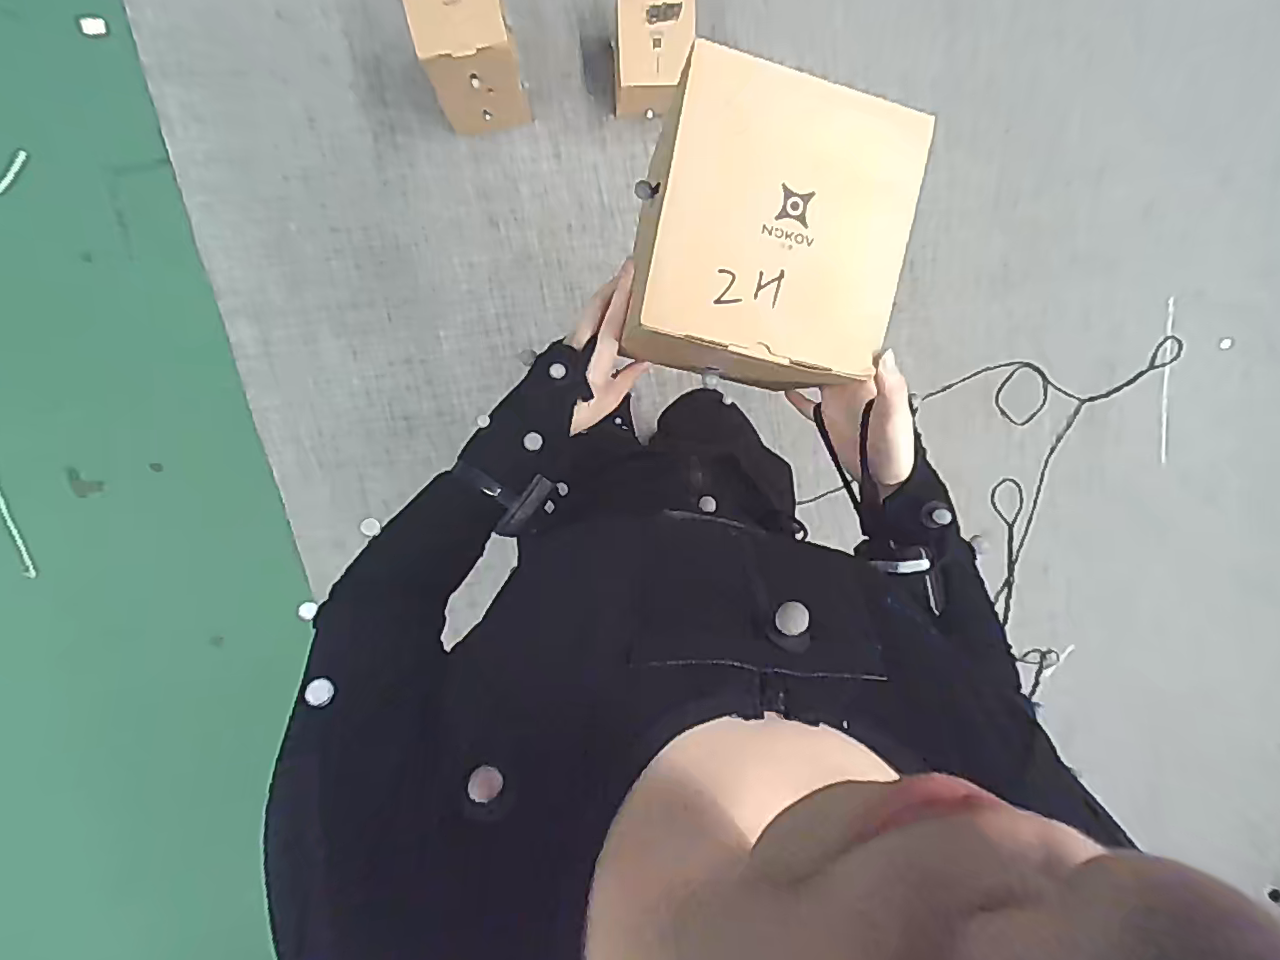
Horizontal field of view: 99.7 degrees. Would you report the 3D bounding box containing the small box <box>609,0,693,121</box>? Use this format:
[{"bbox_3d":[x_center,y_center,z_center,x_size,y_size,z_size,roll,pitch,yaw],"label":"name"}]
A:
[{"bbox_3d":[0.020,-0.934,1.204,0.168,0.176,0.179,-4,104,-5],"label":"small box"}]

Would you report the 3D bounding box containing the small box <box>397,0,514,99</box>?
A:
[{"bbox_3d":[-0.344,-0.850,1.016,0.168,0.176,0.179,-12,104,-3],"label":"small box"}]

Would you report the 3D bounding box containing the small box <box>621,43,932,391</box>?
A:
[{"bbox_3d":[0.086,-0.175,0.426,0.168,0.176,0.179,11,95,-9],"label":"small box"}]
